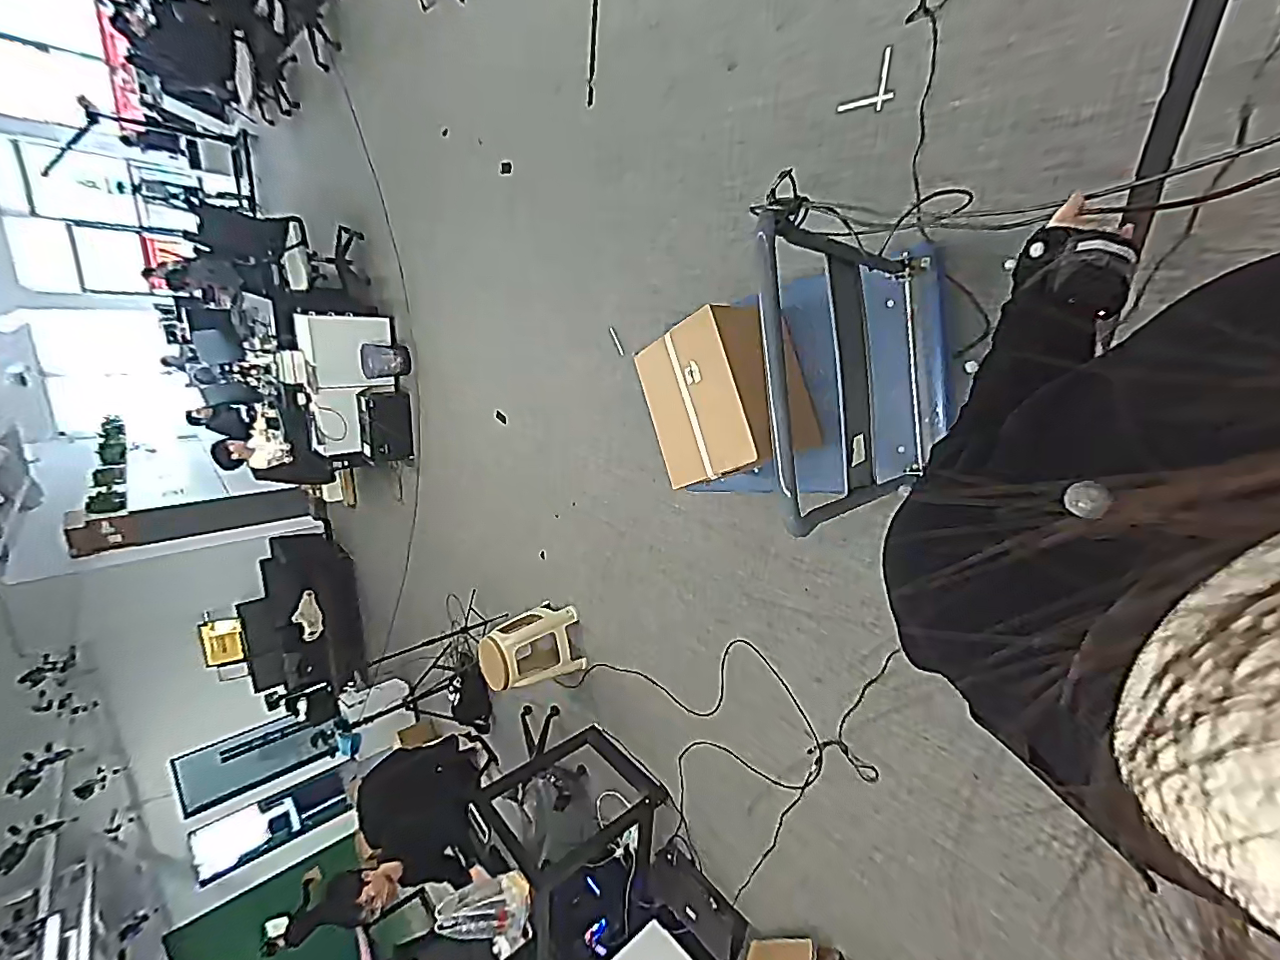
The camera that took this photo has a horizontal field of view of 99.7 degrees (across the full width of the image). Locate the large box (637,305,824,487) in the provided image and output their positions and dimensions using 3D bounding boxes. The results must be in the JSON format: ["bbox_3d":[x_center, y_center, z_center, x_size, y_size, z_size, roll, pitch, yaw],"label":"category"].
[{"bbox_3d":[0.250,-0.228,1.512,0.320,0.320,0.408,-22,82,49],"label":"large box"}]
